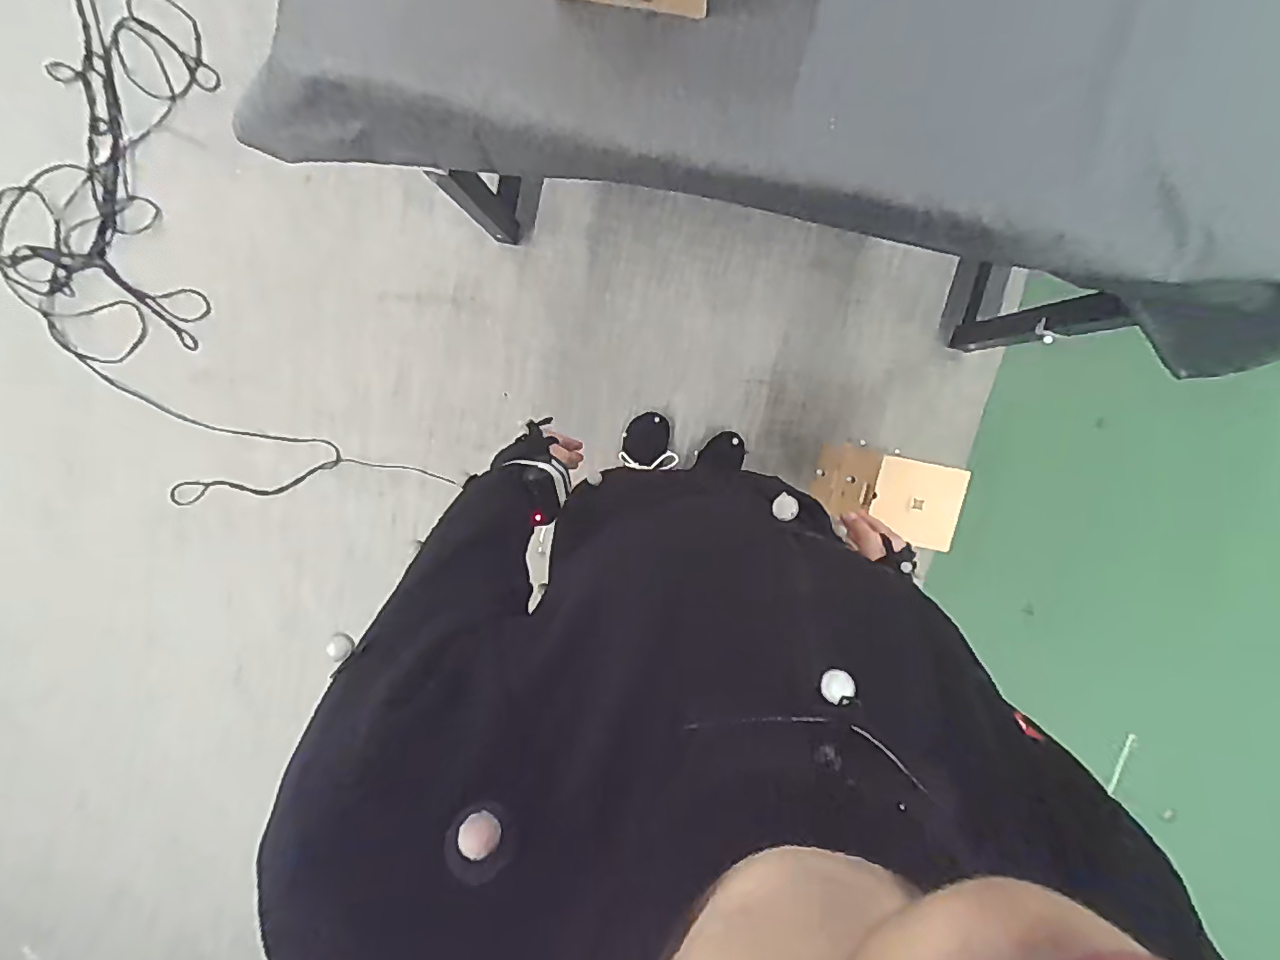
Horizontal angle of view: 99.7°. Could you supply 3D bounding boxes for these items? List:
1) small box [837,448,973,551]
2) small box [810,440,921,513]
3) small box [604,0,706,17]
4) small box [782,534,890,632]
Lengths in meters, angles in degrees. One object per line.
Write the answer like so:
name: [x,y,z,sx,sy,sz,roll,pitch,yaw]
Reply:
small box: [0.534,0.032,1.113,0.179,0.176,0.168,11,99,0]
small box: [0.521,0.002,1.275,0.179,0.176,0.168,12,97,0]
small box: [-0.001,-0.569,0.473,0.168,0.176,0.179,10,99,1]
small box: [0.466,0.241,1.313,0.179,0.176,0.168,15,98,1]
